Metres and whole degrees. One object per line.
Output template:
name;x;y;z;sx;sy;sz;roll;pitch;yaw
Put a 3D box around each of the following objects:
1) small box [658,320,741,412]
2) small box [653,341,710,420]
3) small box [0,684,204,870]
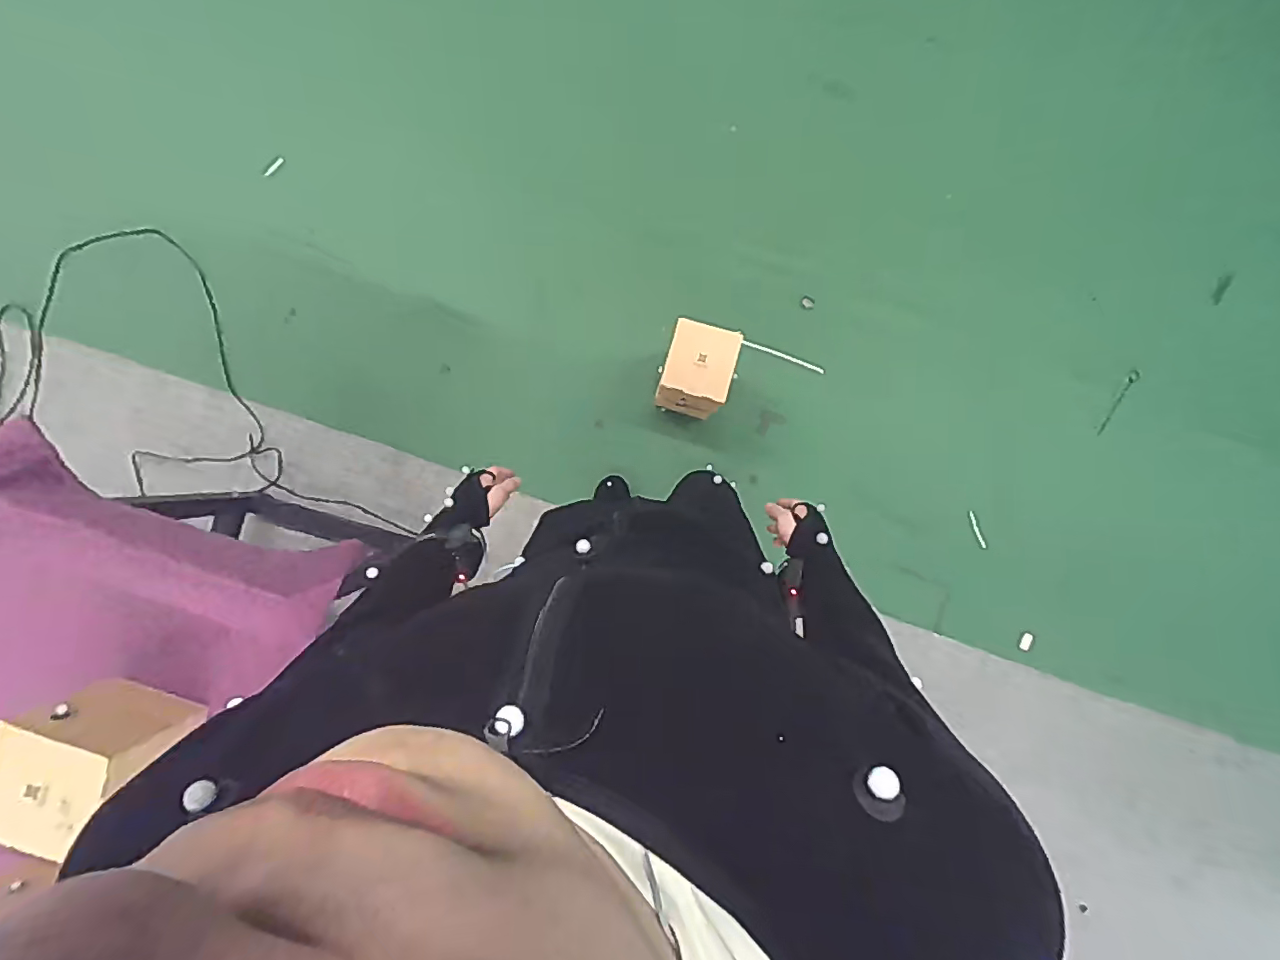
small box;0.145;-0.285;1.393;0.168;0.176;0.179;15;91;-1
small box;0.138;-0.280;1.555;0.168;0.176;0.179;17;90;-1
small box;-0.835;0.436;0.828;0.179;0.176;0.168;18;91;0
